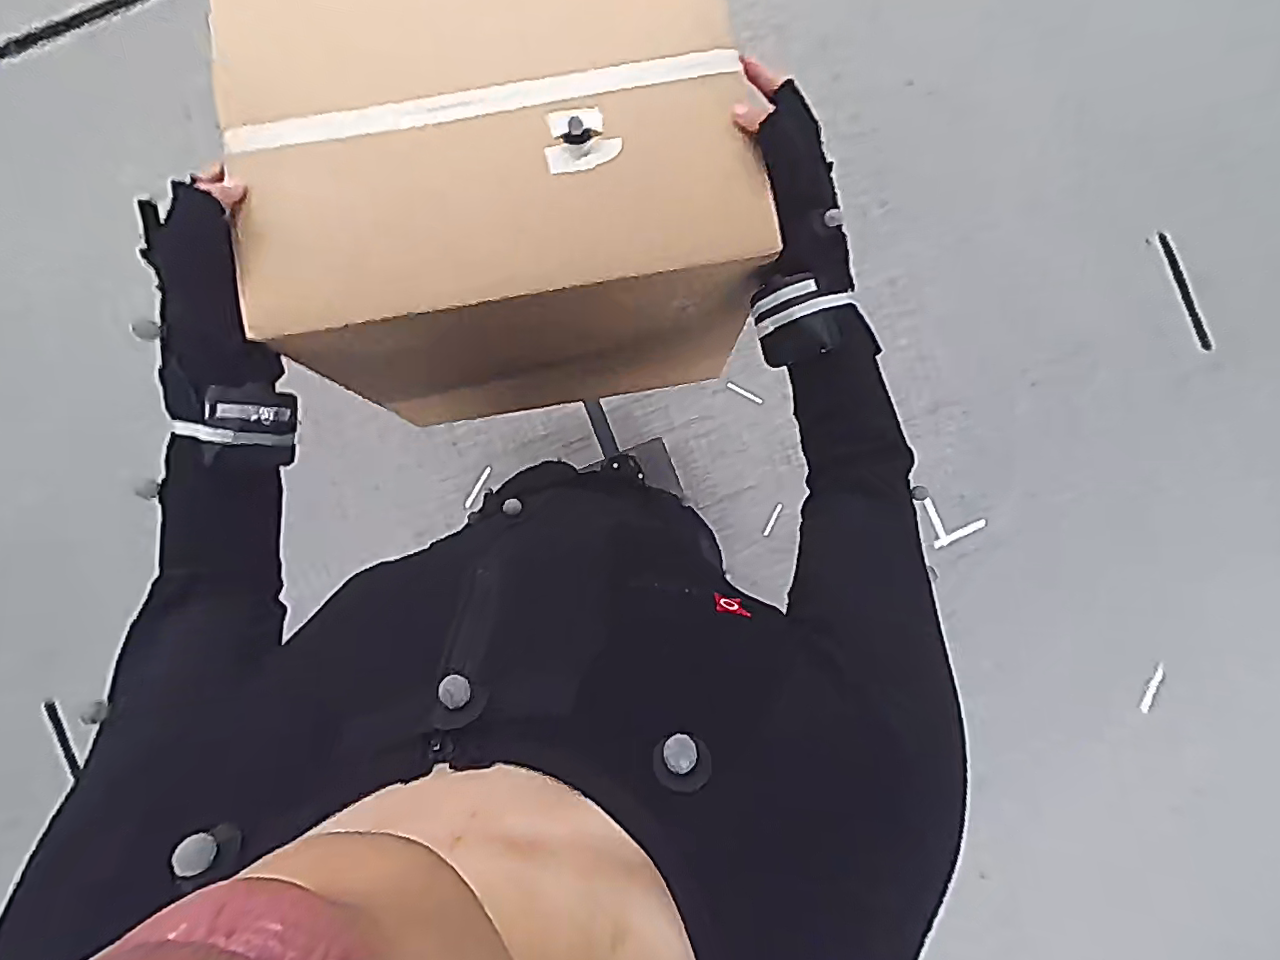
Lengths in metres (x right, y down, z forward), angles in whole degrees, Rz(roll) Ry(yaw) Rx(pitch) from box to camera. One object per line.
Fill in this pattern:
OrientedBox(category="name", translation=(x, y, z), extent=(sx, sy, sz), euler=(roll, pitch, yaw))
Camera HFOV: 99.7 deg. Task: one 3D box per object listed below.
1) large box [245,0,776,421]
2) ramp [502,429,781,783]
OrientedBox(category="large box", translation=(-0.114, -0.277, 0.587), extent=(0.408, 0.320, 0.320), euler=(-10, 83, -2))
OrientedBox(category="ramp", translation=(0.034, 0.397, 1.576), extent=(0.509, 0.206, 0.991), euler=(-25, 92, -1))
